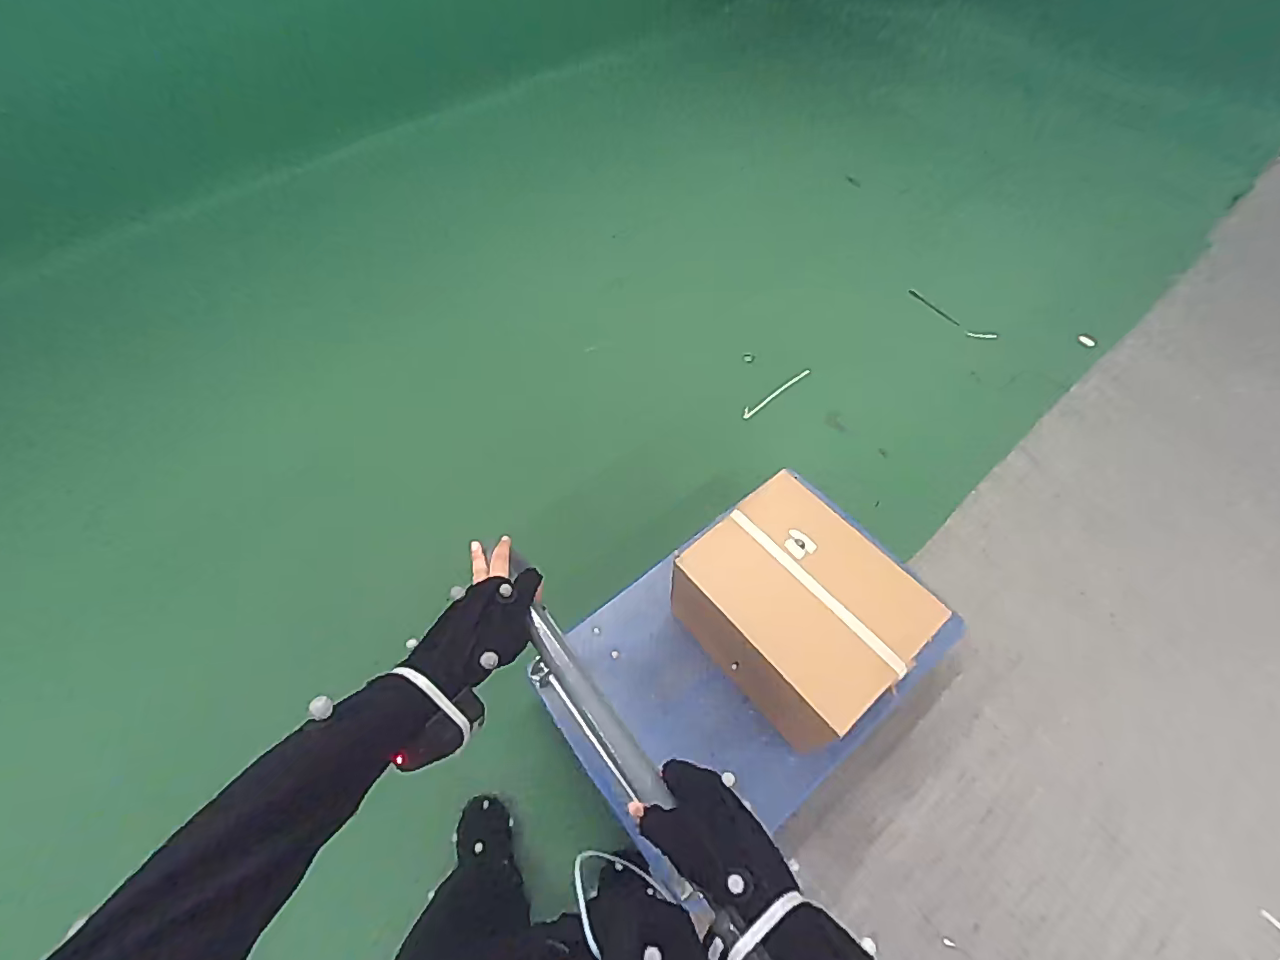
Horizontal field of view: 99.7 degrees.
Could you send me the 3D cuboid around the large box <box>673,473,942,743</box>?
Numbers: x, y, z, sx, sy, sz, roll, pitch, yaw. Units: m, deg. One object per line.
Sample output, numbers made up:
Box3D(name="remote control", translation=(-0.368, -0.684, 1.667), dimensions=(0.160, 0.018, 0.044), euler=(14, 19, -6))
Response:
Box3D(name="large box", translation=(0.312, 0.271, 1.134), dimensions=(0.320, 0.320, 0.408), euler=(-36, 64, -19))
